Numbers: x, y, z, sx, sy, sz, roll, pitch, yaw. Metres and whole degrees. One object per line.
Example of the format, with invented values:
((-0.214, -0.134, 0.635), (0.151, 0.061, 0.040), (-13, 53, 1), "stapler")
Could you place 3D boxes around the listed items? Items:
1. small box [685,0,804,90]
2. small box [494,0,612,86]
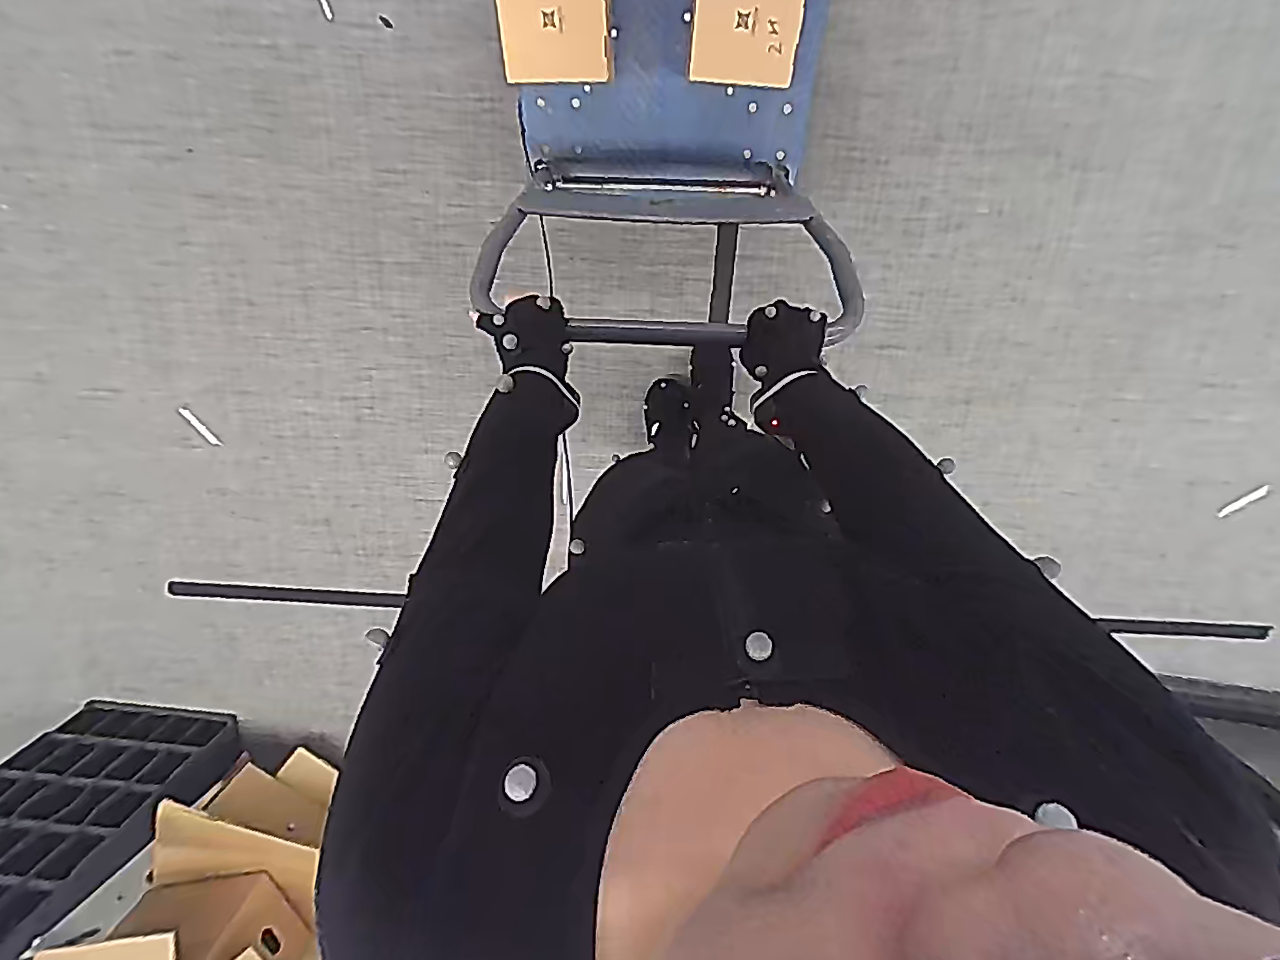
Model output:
((0.173, -0.782, 0.933), (0.179, 0.176, 0.168), (4, 127, -1), "small box")
((-0.144, -0.790, 0.941), (0.179, 0.176, 0.168), (-1, 126, 1), "small box")
